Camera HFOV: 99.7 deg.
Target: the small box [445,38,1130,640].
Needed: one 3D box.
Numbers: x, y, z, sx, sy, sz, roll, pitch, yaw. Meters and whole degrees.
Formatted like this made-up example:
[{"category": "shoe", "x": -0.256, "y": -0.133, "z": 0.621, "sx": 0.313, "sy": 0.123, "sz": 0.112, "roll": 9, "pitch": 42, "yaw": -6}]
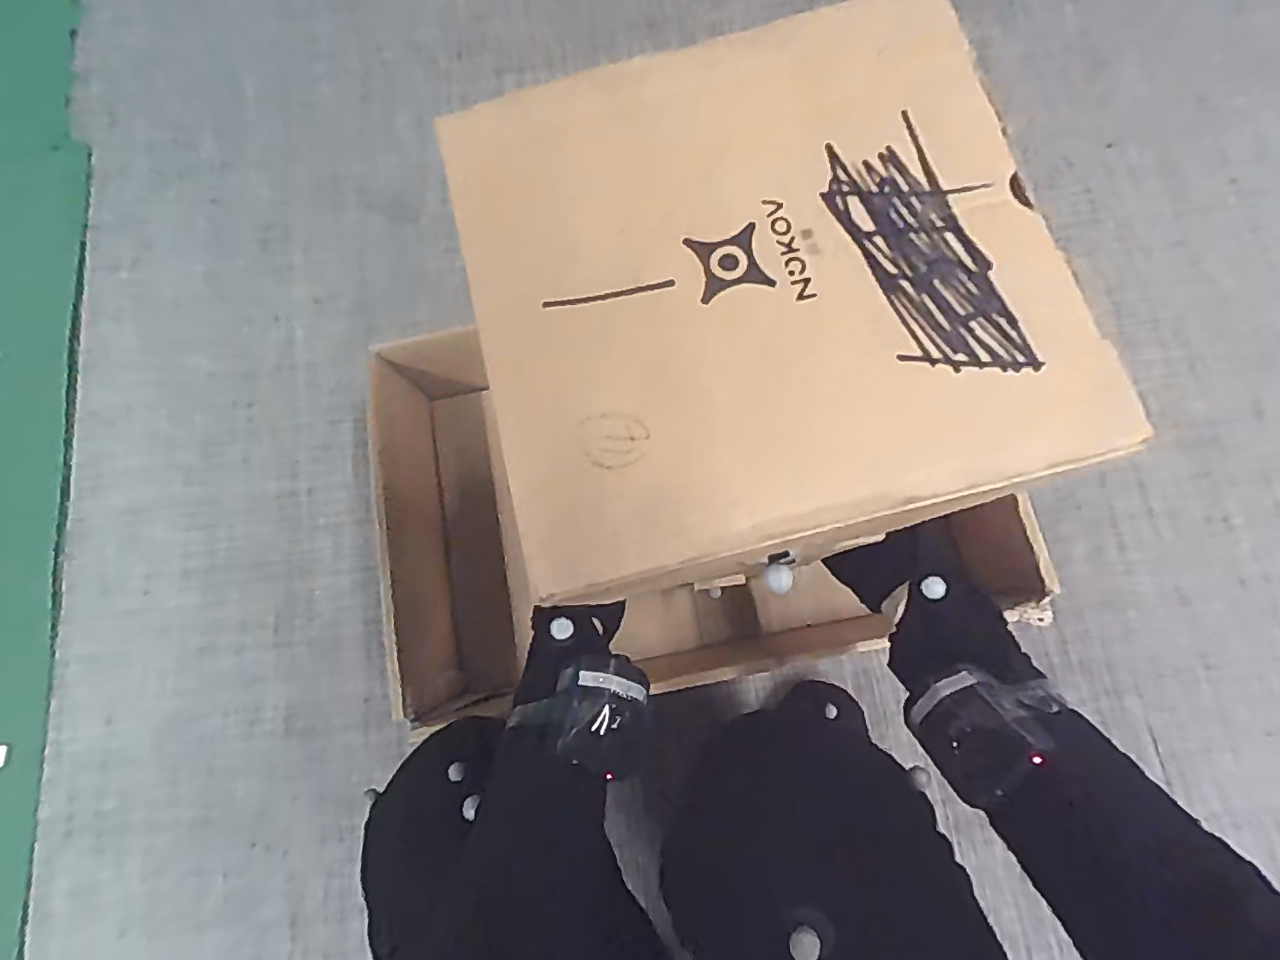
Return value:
[{"category": "small box", "x": 0.040, "y": -0.038, "z": 0.247, "sx": 0.179, "sy": 0.176, "sz": 0.168, "roll": -17, "pitch": 77, "yaw": -2}]
